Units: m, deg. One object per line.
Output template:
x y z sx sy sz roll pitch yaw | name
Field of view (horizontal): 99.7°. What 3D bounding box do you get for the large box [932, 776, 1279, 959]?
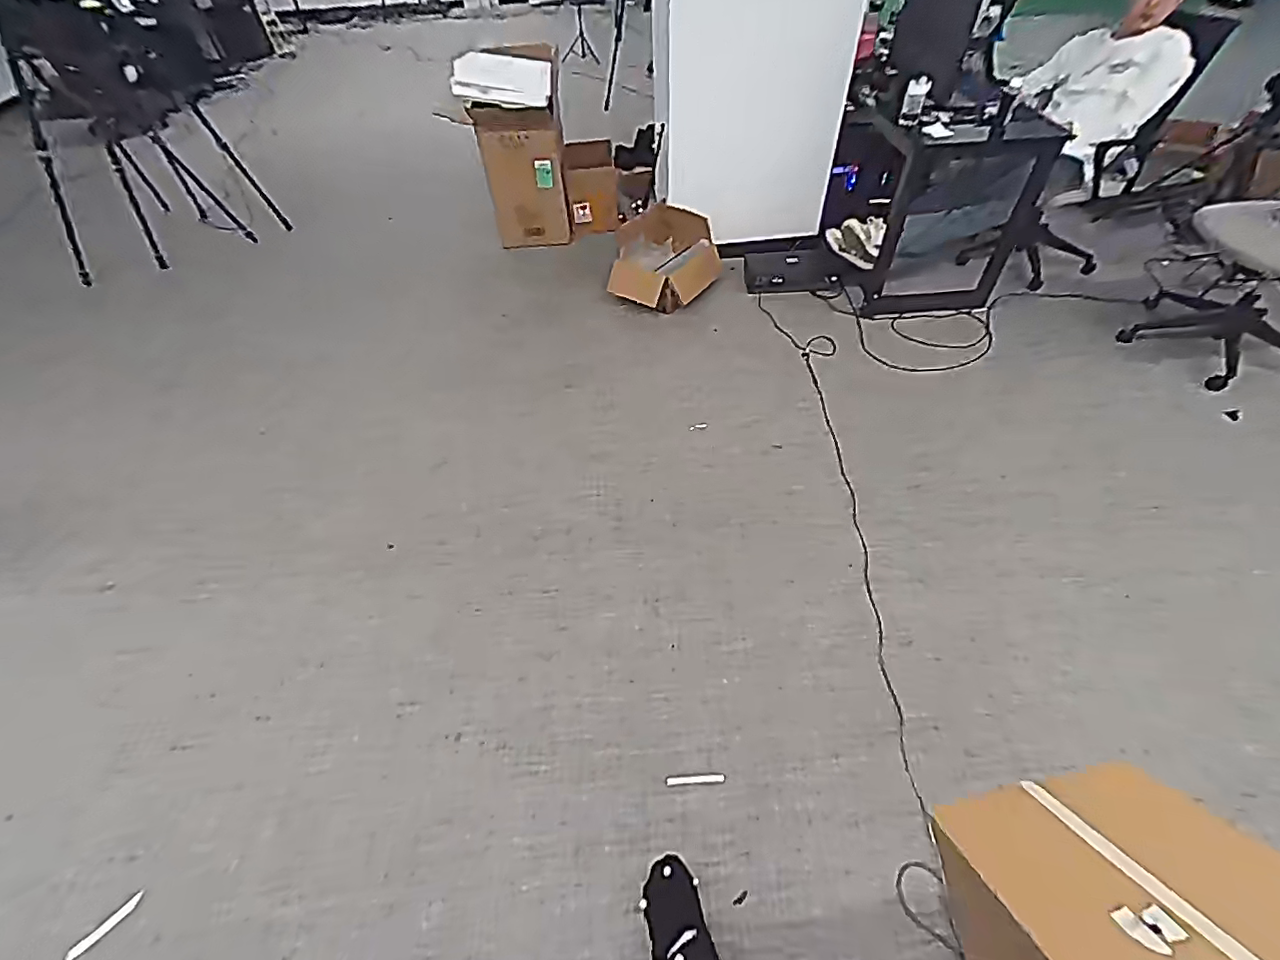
0.621 0.626 0.628 0.320 0.408 0.320 -14 89 2 | large box
